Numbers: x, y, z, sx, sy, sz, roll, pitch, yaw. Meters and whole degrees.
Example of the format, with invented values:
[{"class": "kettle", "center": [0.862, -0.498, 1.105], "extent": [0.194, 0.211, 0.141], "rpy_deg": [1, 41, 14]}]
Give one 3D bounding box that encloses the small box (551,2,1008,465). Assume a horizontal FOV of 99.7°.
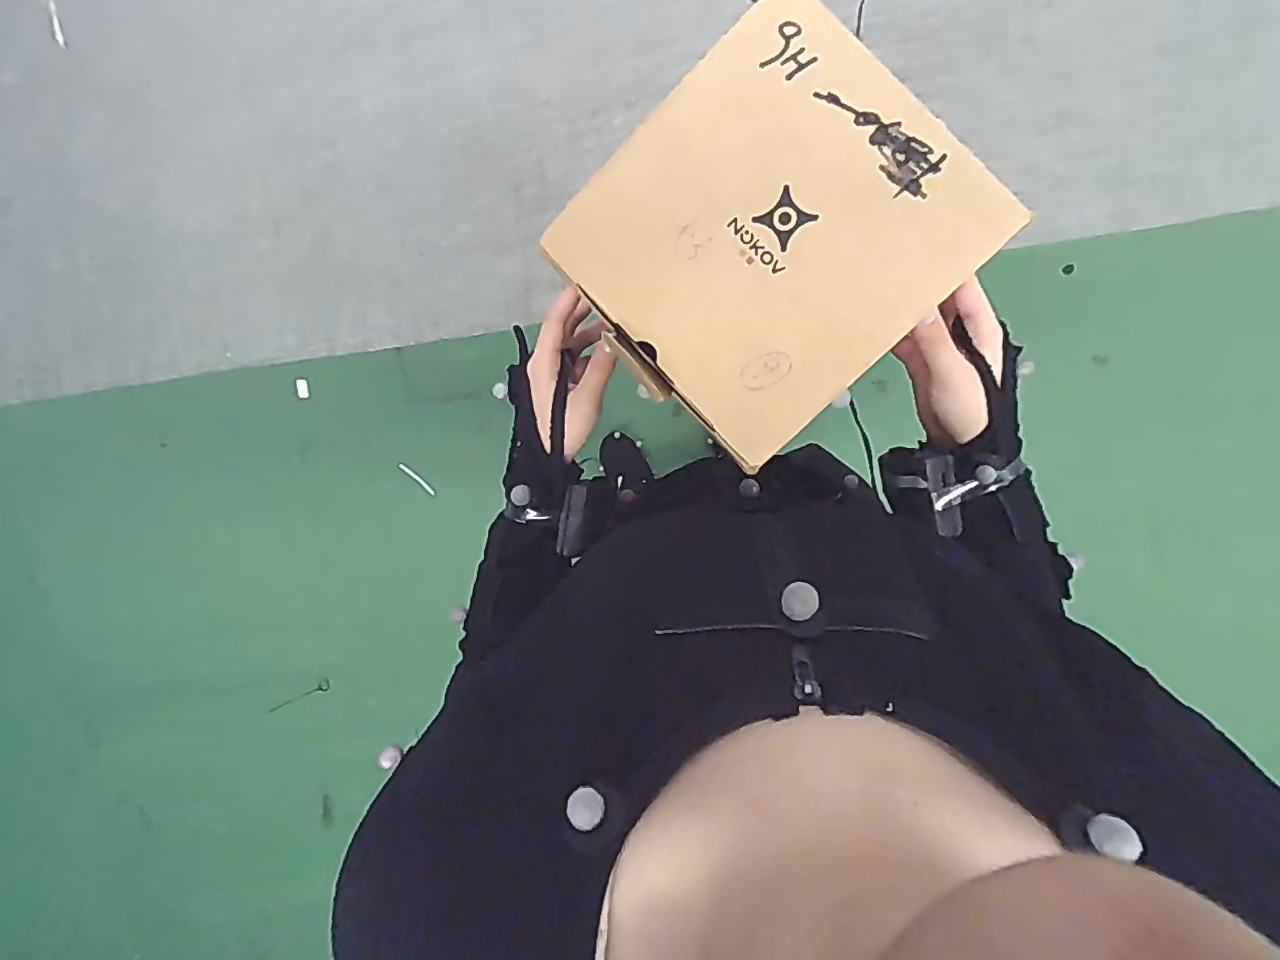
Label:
[{"class": "small box", "center": [0.077, -0.128, 0.357], "extent": [0.179, 0.176, 0.168], "rpy_deg": [-43, 88, 9]}]
